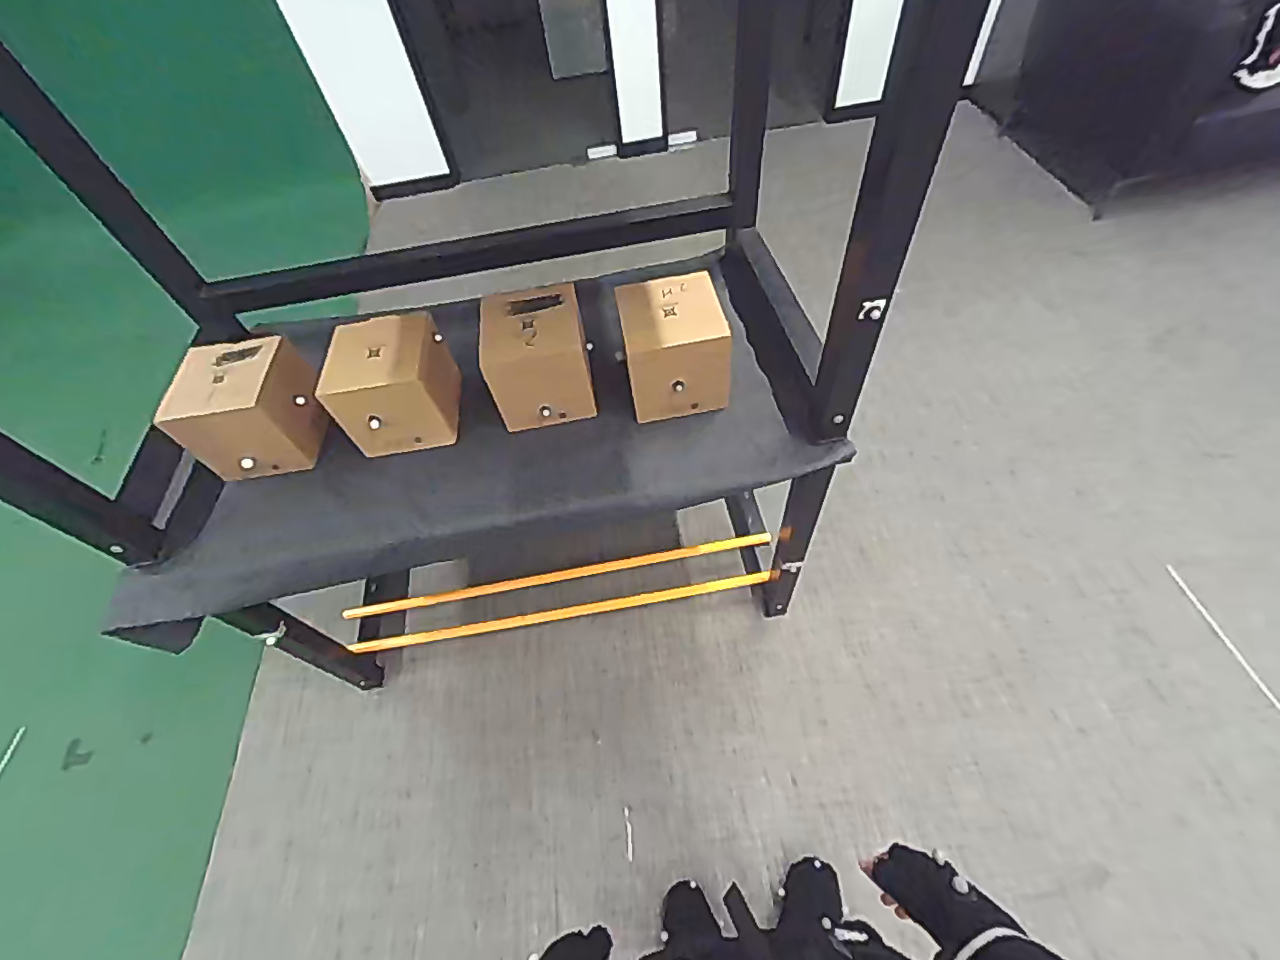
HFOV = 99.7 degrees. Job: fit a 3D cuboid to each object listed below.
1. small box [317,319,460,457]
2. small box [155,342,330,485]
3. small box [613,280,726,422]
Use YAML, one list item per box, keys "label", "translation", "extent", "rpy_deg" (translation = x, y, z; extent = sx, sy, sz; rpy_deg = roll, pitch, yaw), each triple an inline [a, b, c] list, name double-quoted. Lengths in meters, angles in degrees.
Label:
- label: "small box"
  translation: [-0.433, -0.156, 0.964]
  extent: [0.168, 0.176, 0.179]
  rpy_deg: [-9, 54, 0]
- label: "small box"
  translation: [-0.683, -0.115, 0.960]
  extent: [0.168, 0.176, 0.179]
  rpy_deg: [-9, 55, 0]
- label: "small box"
  translation: [0.053, -0.218, 0.951]
  extent: [0.168, 0.176, 0.179]
  rpy_deg: [-10, 54, -1]
